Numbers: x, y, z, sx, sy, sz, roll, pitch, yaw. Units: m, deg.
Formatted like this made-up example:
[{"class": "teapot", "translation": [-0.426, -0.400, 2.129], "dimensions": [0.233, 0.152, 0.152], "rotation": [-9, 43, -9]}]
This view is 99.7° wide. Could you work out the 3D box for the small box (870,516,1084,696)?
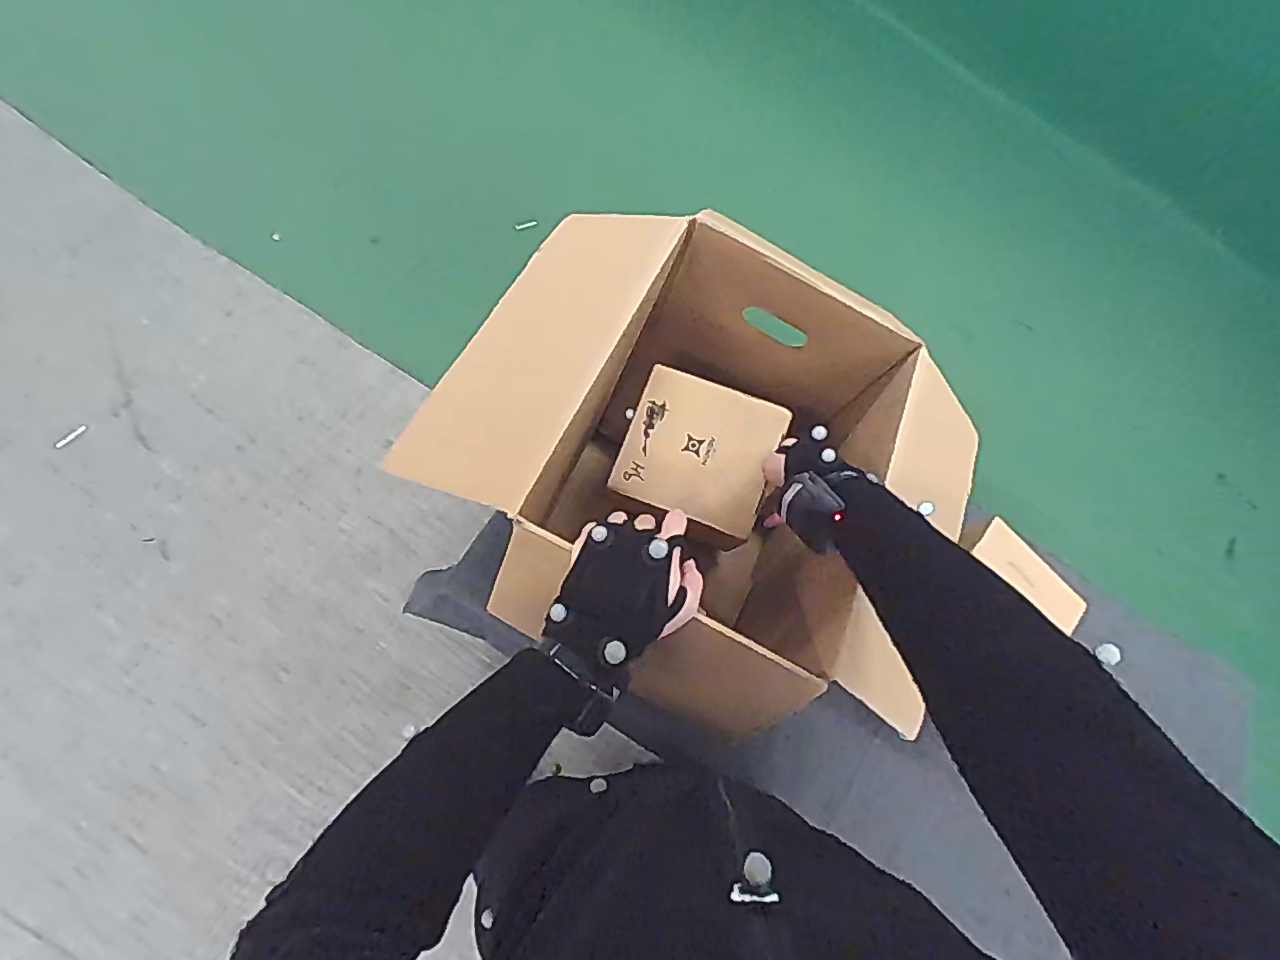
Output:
[{"class": "small box", "translation": [0.465, 0.184, 0.773], "dimensions": [0.179, 0.176, 0.168], "rotation": [-40, 84, -24]}]
